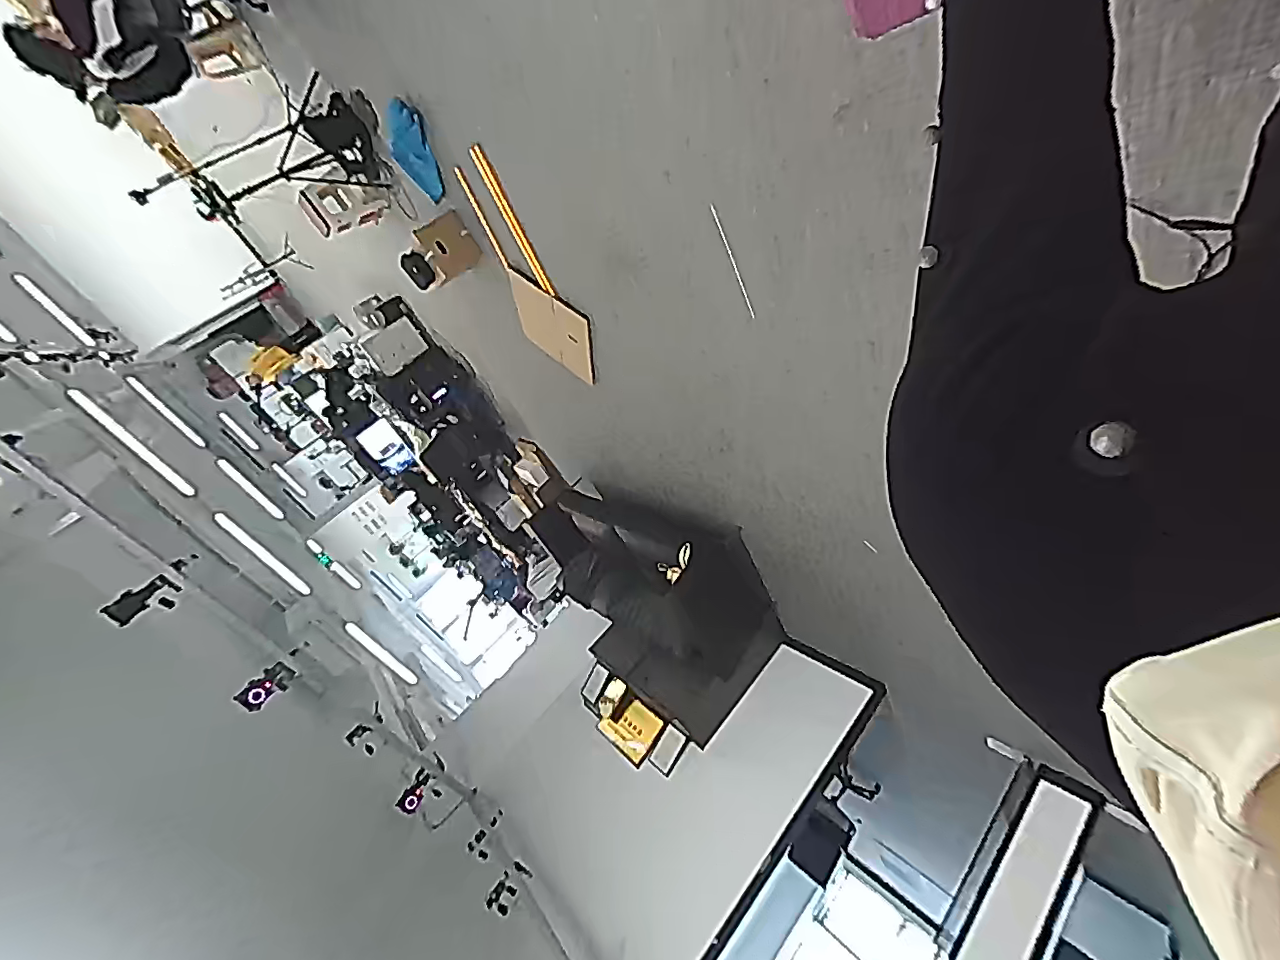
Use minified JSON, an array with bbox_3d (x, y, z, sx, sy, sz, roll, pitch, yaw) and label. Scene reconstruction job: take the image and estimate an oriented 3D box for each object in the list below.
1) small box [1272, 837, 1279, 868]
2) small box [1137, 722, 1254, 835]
[{"bbox_3d":[1.622,0.851,1.241,0.168,0.176,0.179,24,150,45],"label":"small box"},{"bbox_3d":[1.447,0.772,1.411,0.168,0.176,0.179,24,150,45],"label":"small box"}]
